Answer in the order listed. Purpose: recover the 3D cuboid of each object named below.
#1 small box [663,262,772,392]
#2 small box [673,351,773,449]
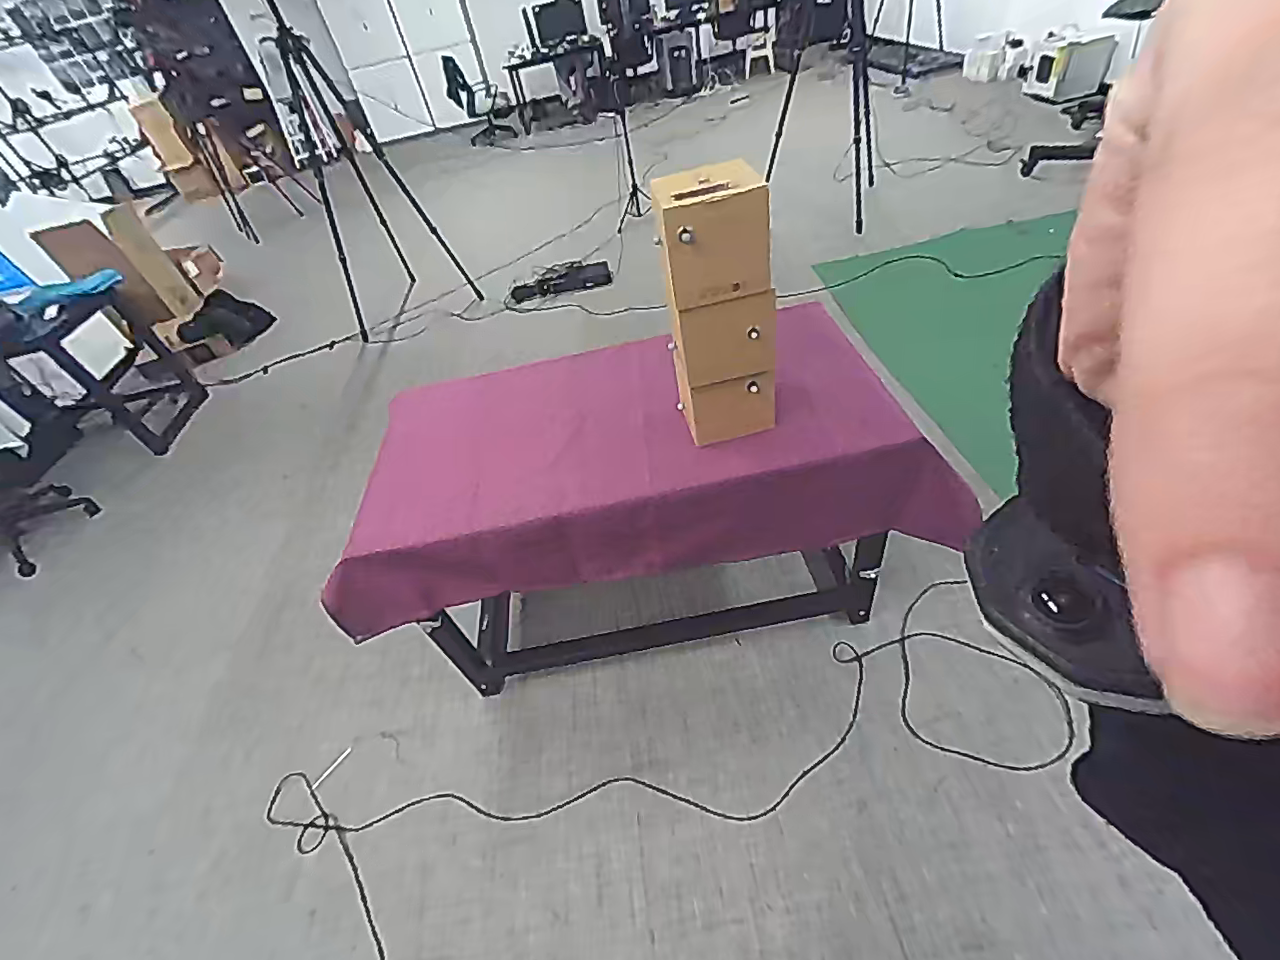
[{"bbox_3d":[0.152,-0.298,1.061,0.179,0.176,0.168,-13,42,2],"label":"small box"},{"bbox_3d":[0.181,-0.193,1.184,0.179,0.176,0.168,-14,42,0],"label":"small box"}]
